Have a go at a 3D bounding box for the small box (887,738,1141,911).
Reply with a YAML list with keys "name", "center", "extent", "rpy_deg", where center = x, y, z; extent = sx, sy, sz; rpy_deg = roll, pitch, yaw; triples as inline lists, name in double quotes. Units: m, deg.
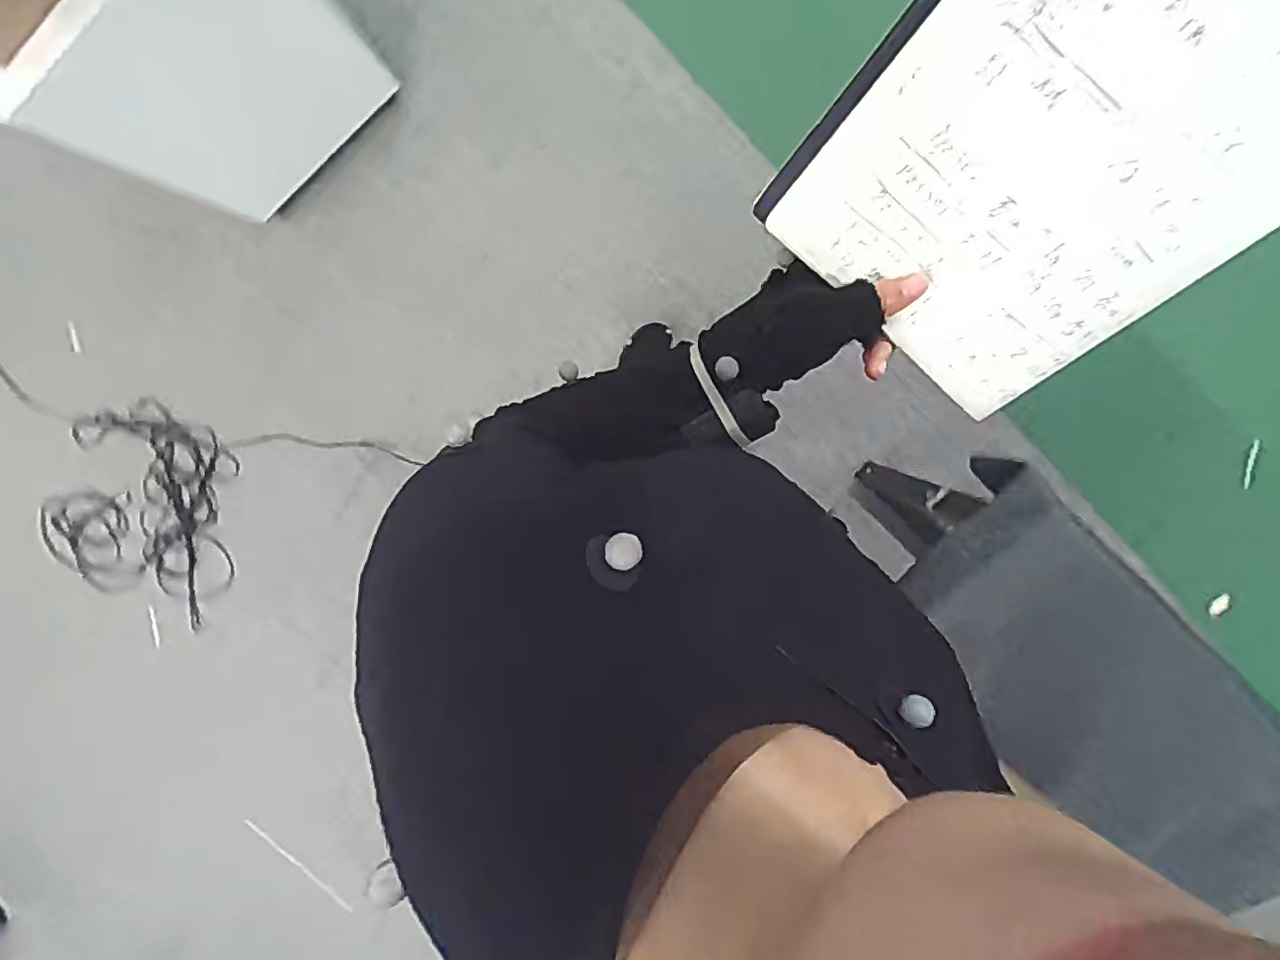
- name: "small box"
  center: [0.464, 0.480, 0.697]
  extent: [0.179, 0.176, 0.168]
  rpy_deg: [40, 99, -2]
